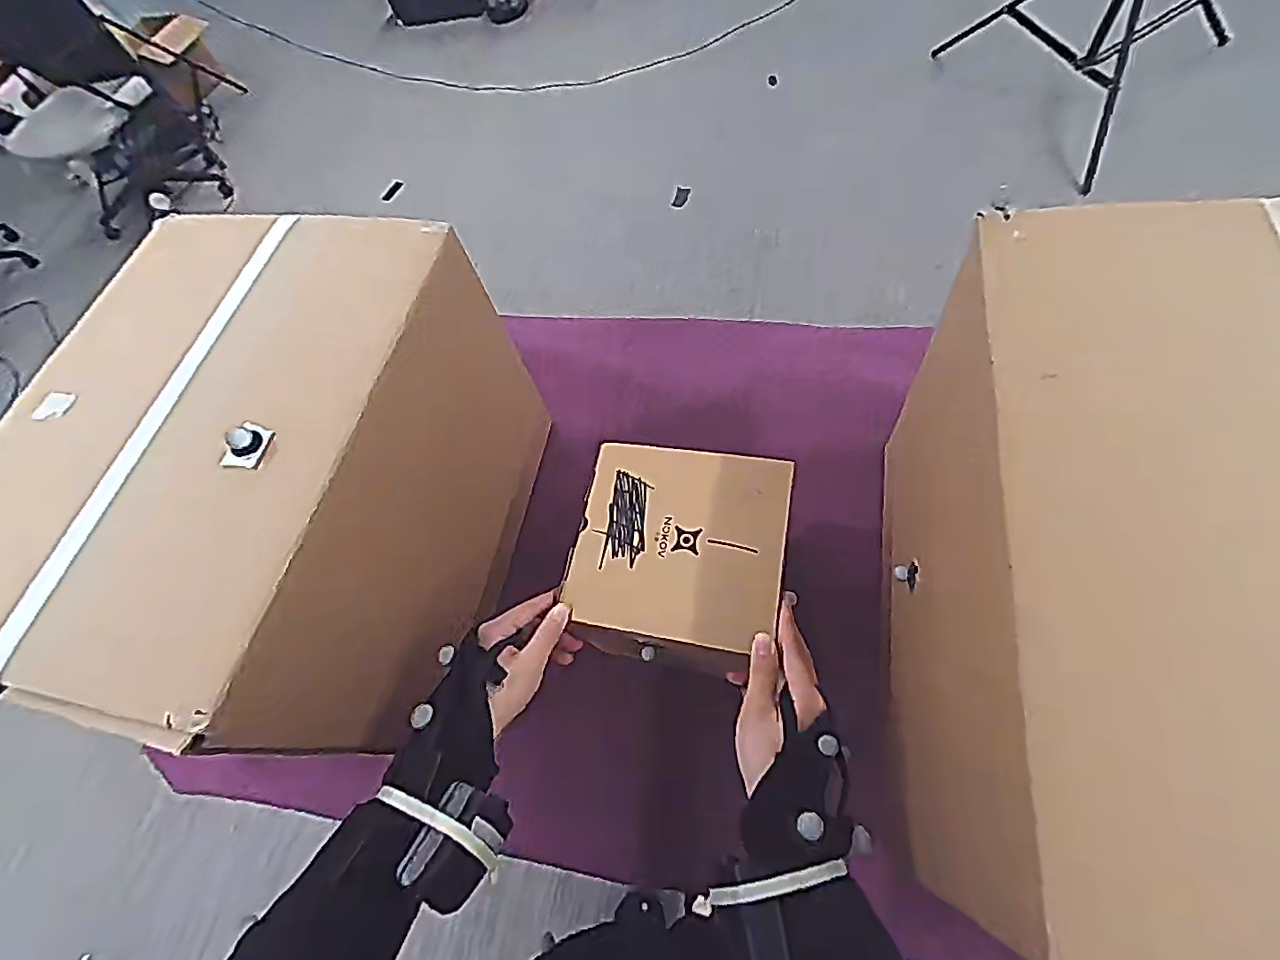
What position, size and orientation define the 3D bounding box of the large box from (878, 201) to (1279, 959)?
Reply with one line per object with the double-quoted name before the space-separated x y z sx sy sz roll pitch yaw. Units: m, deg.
"large box" 0.359 0.079 0.374 0.320 0.320 0.408 5 63 13
